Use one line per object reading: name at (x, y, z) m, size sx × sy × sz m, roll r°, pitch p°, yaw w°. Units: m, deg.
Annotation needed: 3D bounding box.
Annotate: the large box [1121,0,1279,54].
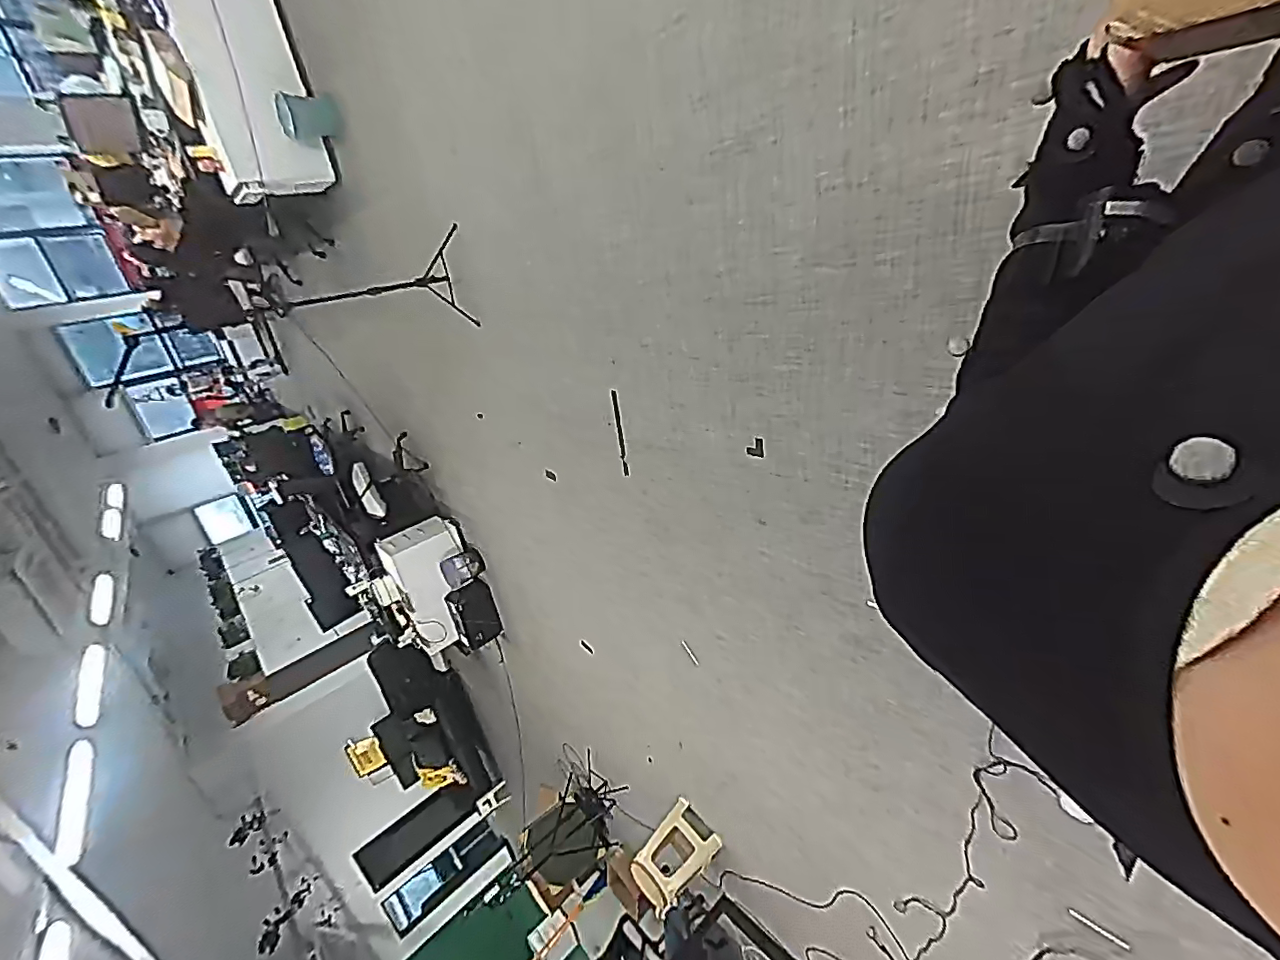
large box at (0.403, -0.352, 0.117) m, size 0.408 × 0.320 × 0.320 m, roll 13°, pitch 126°, yaw 40°
